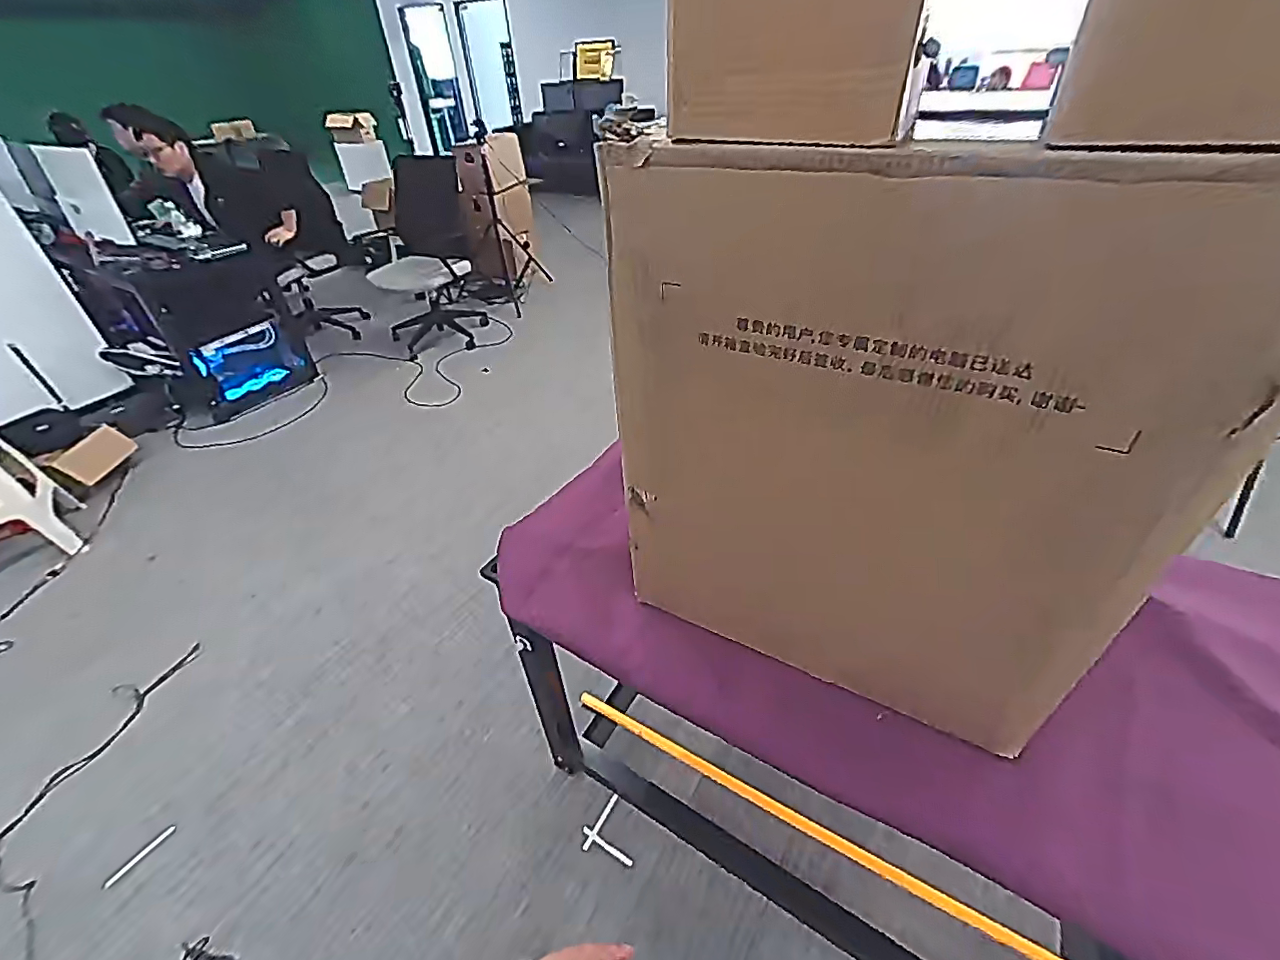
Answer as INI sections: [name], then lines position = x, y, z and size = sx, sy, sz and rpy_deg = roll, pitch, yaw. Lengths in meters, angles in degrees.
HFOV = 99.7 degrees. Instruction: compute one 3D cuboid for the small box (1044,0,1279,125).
[small box]
position = 0.464, -0.404, 0.446
size = 0.168, 0.176, 0.179
rpy_deg = 19, 44, 28
